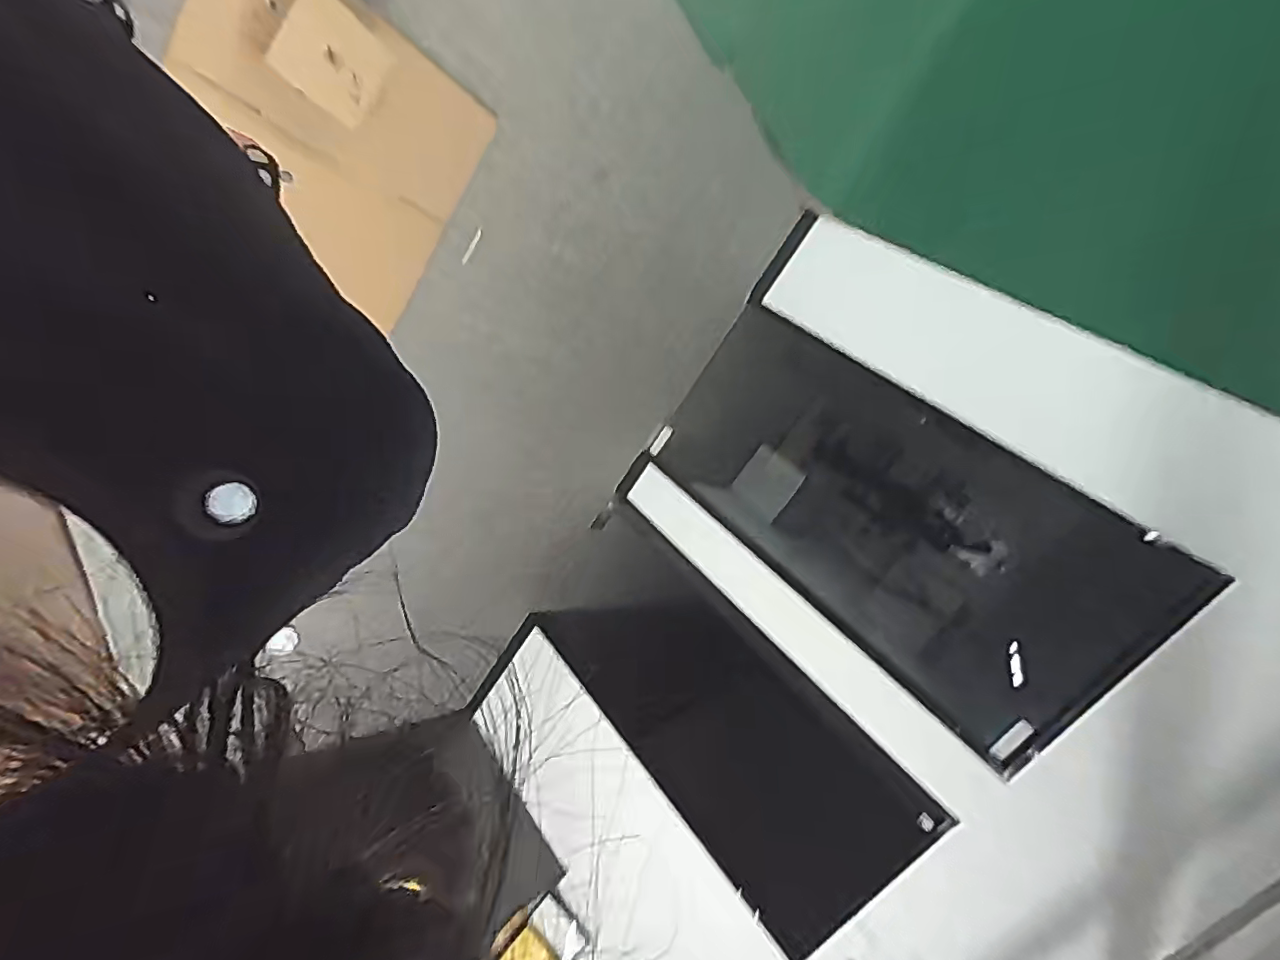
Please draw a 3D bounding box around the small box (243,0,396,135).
[{"bbox_3d":[-0.618,-0.817,1.039,0.168,0.176,0.179,-51,151,10],"label":"small box"}]
